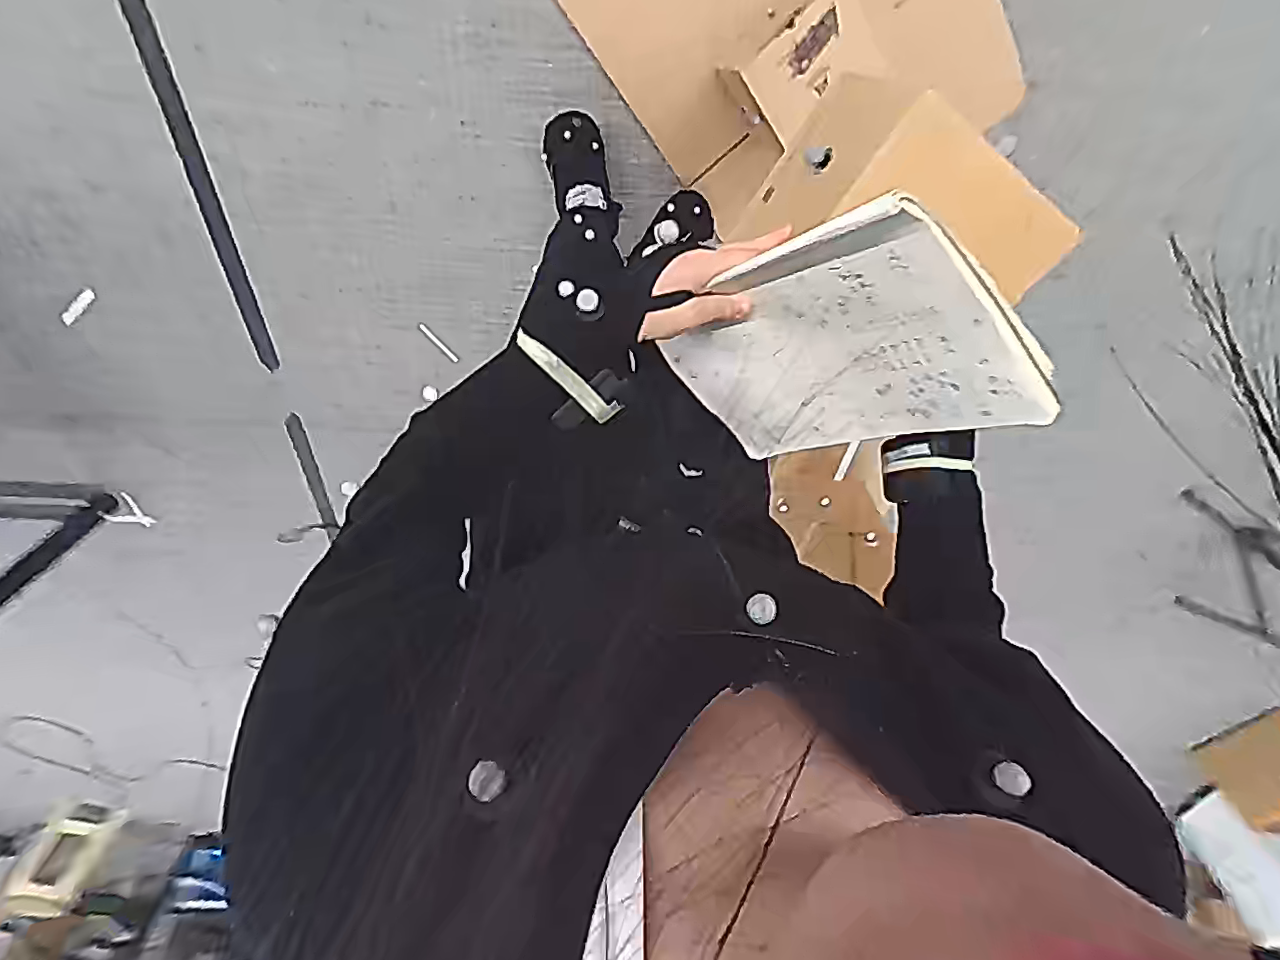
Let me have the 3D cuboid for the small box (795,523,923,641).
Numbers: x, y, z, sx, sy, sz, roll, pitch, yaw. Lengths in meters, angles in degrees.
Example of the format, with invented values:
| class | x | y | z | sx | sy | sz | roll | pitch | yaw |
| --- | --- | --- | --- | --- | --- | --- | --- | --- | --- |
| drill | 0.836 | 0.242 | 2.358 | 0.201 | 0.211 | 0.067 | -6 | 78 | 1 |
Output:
| class | x | y | z | sx | sy | sz | roll | pitch | yaw |
| --- | --- | --- | --- | --- | --- | --- | --- | --- | --- |
| small box | 0.429 | 0.212 | 1.098 | 0.168 | 0.176 | 0.179 | 5 | 127 | -5 |

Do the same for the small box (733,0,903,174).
| class | x | y | z | sx | sy | sz | roll | pitch | yaw |
| --- | --- | --- | --- | --- | --- | --- | --- | --- | --- |
| small box | 0.259 | -0.611 | 0.823 | 0.168 | 0.176 | 0.179 | -33 | 123 | 24 |

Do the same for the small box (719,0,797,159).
| class | x | y | z | sx | sy | sz | roll | pitch | yaw |
| --- | --- | --- | --- | --- | --- | --- | --- | --- | --- |
| small box | 0.259 | -0.714 | 0.951 | 0.168 | 0.176 | 0.179 | -34 | 123 | 25 |
